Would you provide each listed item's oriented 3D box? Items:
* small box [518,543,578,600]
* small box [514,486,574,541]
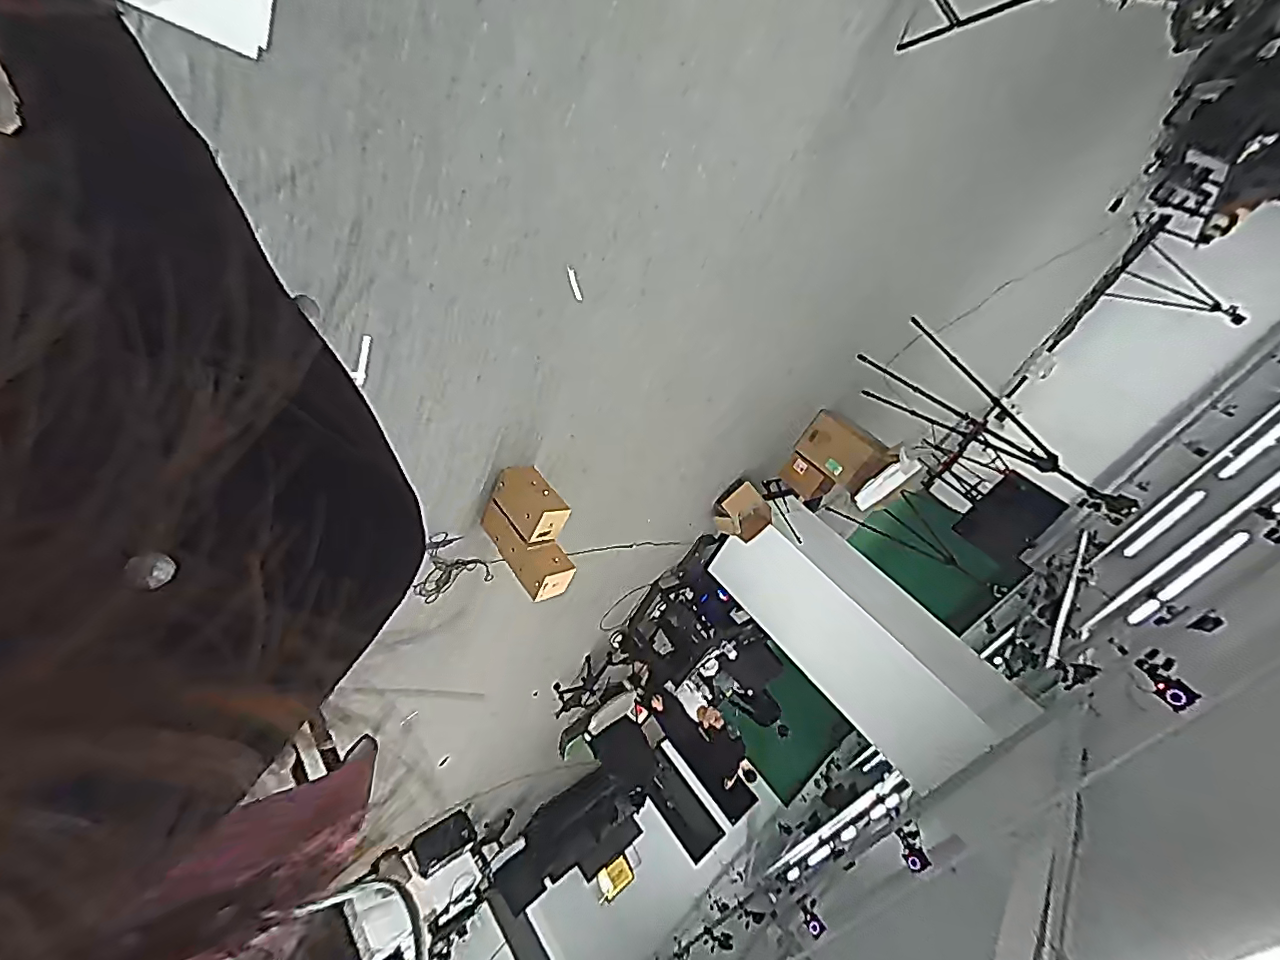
[{"bbox_3d":[-0.414,0.405,2.426,0.179,0.176,0.168,-10,136,-48],"label":"small box"},{"bbox_3d":[-0.433,0.144,2.401,0.168,0.176,0.179,-3,130,-52],"label":"small box"}]
